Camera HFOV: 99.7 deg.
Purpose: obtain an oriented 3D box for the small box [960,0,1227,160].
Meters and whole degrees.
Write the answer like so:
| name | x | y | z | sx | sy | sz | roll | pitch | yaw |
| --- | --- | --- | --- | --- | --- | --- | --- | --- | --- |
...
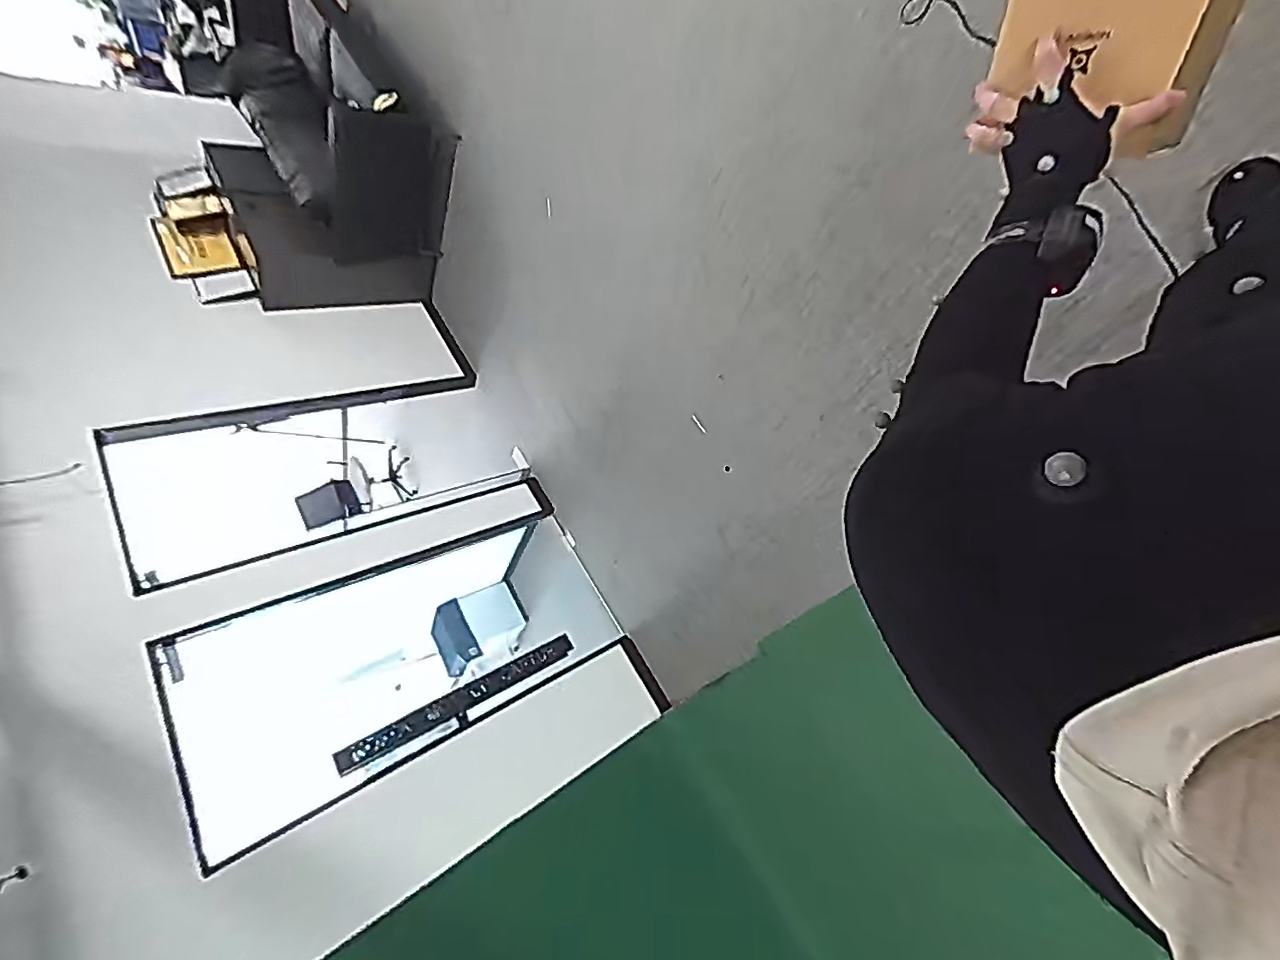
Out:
| name | x | y | z | sx | sy | sz | roll | pitch | yaw |
| --- | --- | --- | --- | --- | --- | --- | --- | --- | --- |
| small box | 0.487 | -0.453 | 0.583 | 0.168 | 0.176 | 0.179 | 30 | 135 | 40 |
